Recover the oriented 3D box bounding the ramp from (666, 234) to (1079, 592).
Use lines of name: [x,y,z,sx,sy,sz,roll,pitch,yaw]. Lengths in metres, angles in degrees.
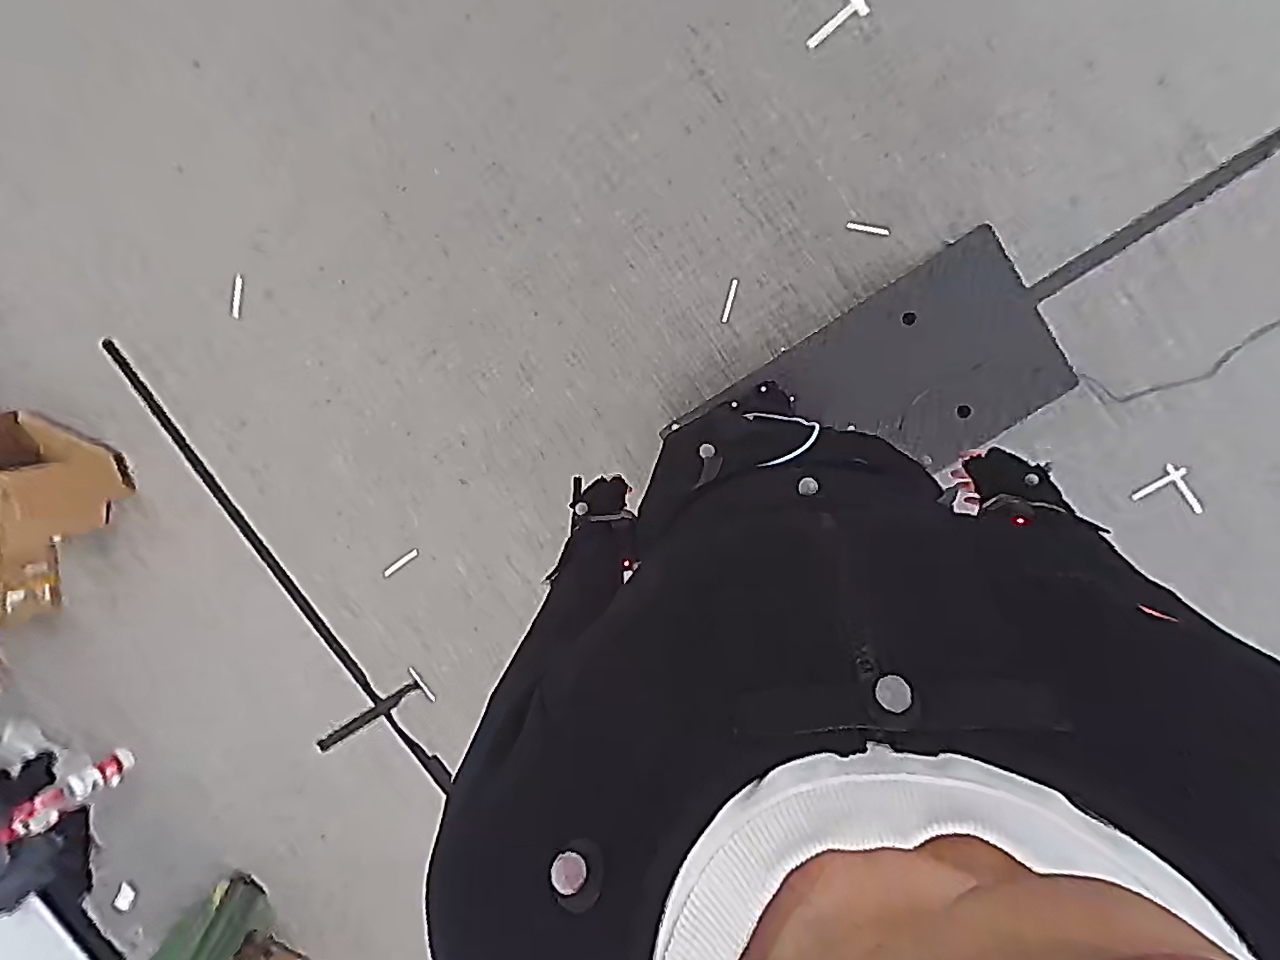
ramp: [0.609,-0.172,1.434,0.991,0.206,0.509,-36,90,12]
